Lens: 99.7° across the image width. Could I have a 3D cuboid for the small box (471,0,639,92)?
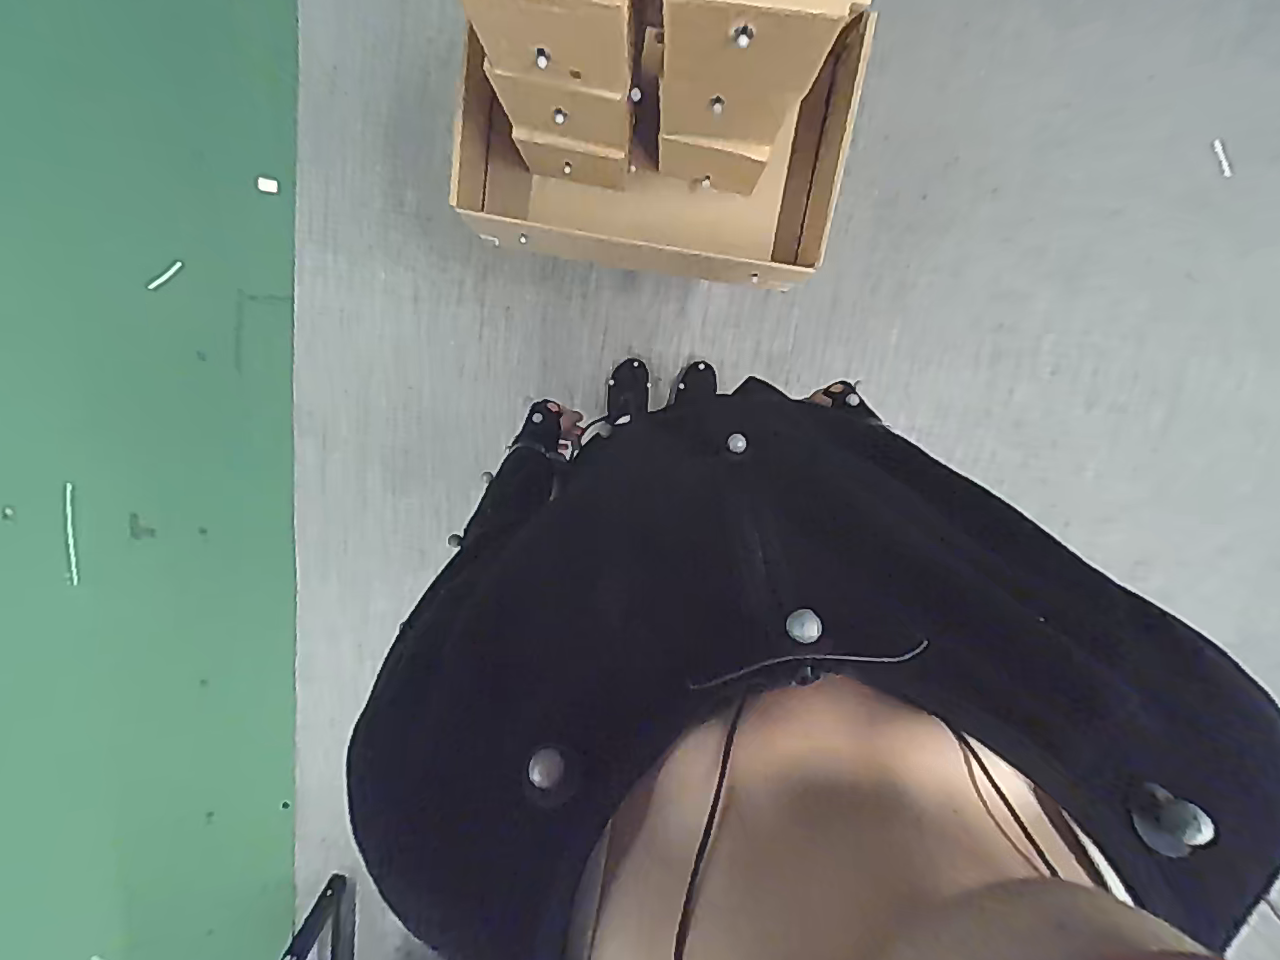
[{"bbox_3d":[-0.085,-0.553,0.564,0.168,0.176,0.179,7,102,-2],"label":"small box"}]
